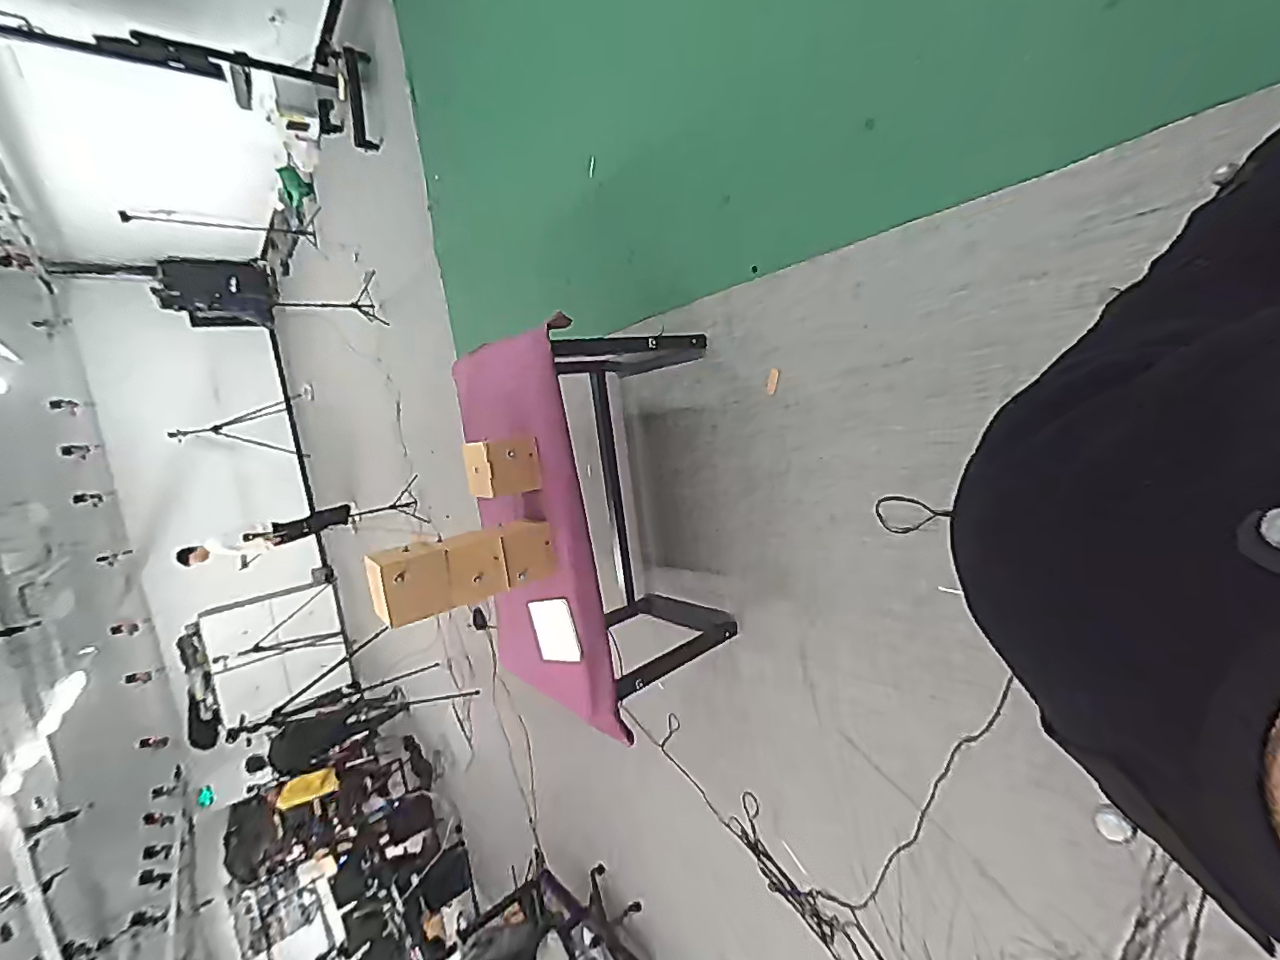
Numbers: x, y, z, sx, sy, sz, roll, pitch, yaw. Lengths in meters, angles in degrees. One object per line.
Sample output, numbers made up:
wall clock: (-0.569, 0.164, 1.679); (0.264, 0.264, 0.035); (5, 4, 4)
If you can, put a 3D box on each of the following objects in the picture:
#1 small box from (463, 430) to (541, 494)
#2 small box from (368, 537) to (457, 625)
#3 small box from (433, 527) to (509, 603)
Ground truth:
small box: (-0.414, -0.058, 1.647); (0.179, 0.176, 0.168); (2, 103, 52)
small box: (-0.617, 0.265, 1.470); (0.168, 0.176, 0.179); (6, 106, 51)
small box: (-0.494, 0.240, 1.578); (0.179, 0.176, 0.168); (2, 104, 52)
